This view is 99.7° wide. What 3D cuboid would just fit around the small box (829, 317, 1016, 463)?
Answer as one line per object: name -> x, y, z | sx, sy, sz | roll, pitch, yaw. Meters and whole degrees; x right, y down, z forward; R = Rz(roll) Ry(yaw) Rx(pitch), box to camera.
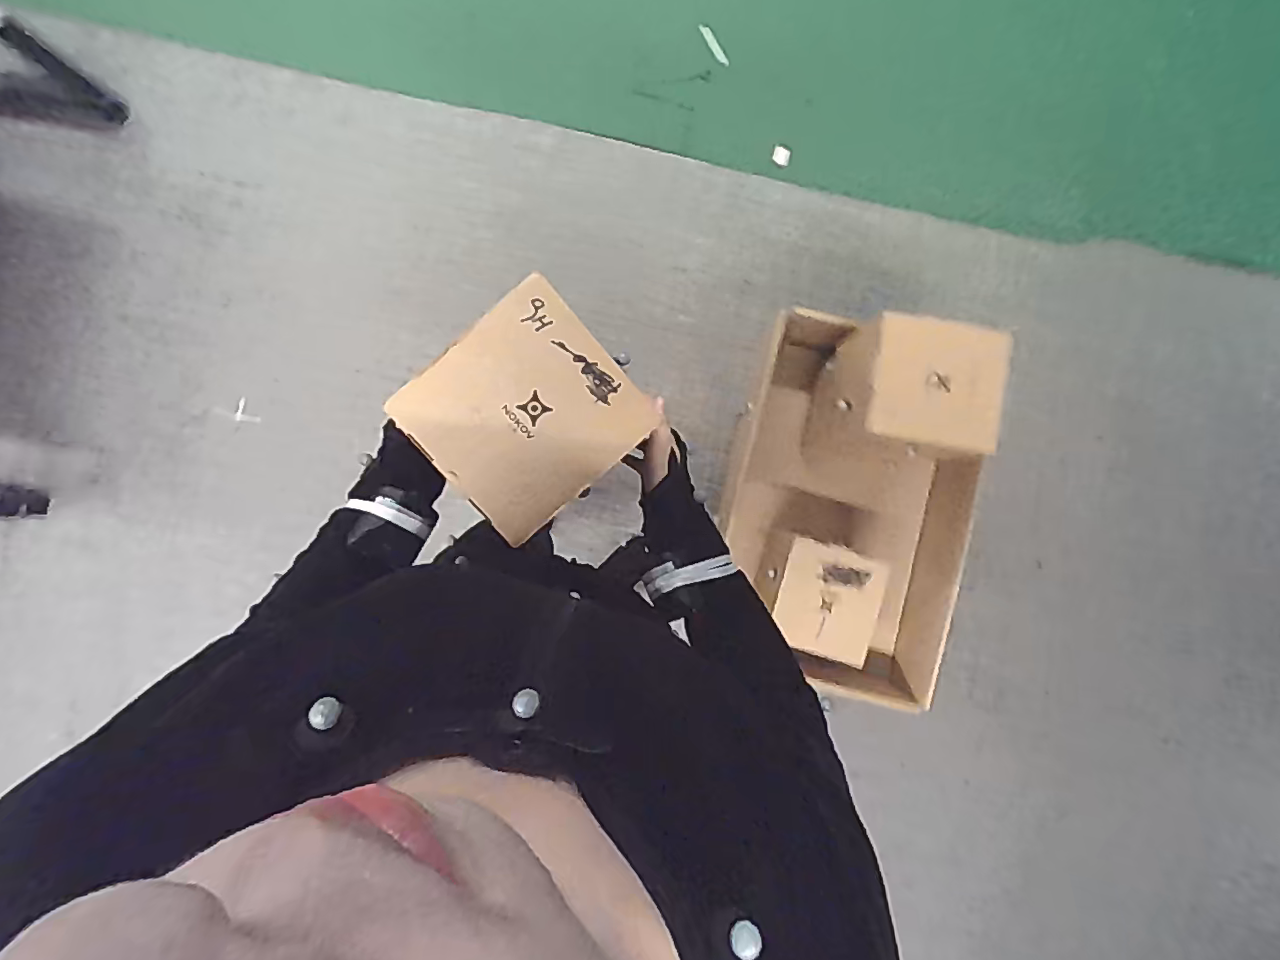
small box -> 0.400, -0.120, 0.795 | 0.179, 0.176, 0.168 | 11, 89, -1
